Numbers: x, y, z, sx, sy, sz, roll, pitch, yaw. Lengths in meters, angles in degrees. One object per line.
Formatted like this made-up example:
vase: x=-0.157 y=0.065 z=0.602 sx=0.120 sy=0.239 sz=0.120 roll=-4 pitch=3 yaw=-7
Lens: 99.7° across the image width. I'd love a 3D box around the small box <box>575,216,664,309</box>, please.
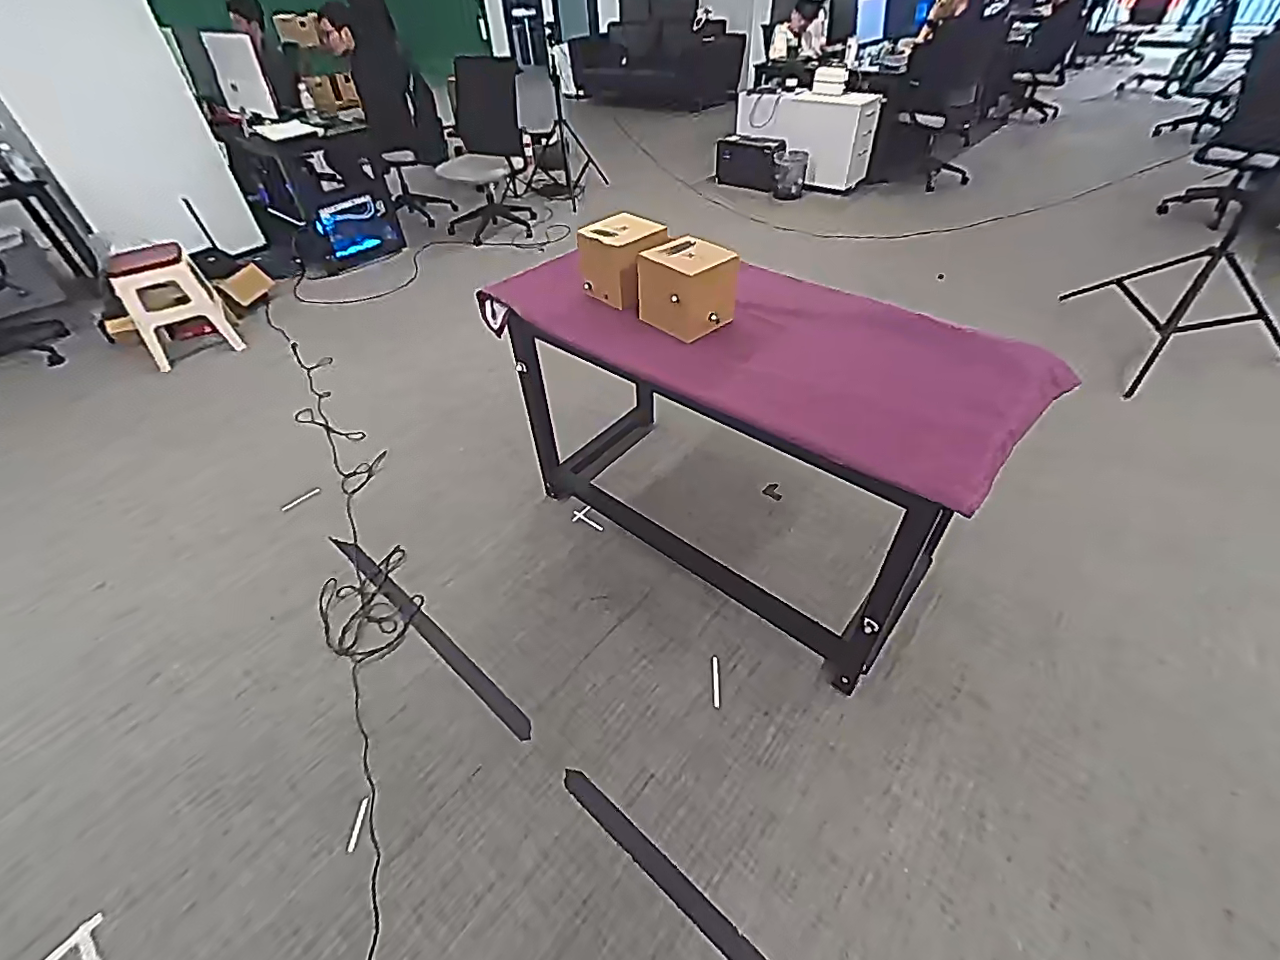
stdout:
small box: x=-0.048 y=-0.581 z=1.450 sx=0.179 sy=0.176 sz=0.168 roll=-35 pitch=53 yaw=-28
